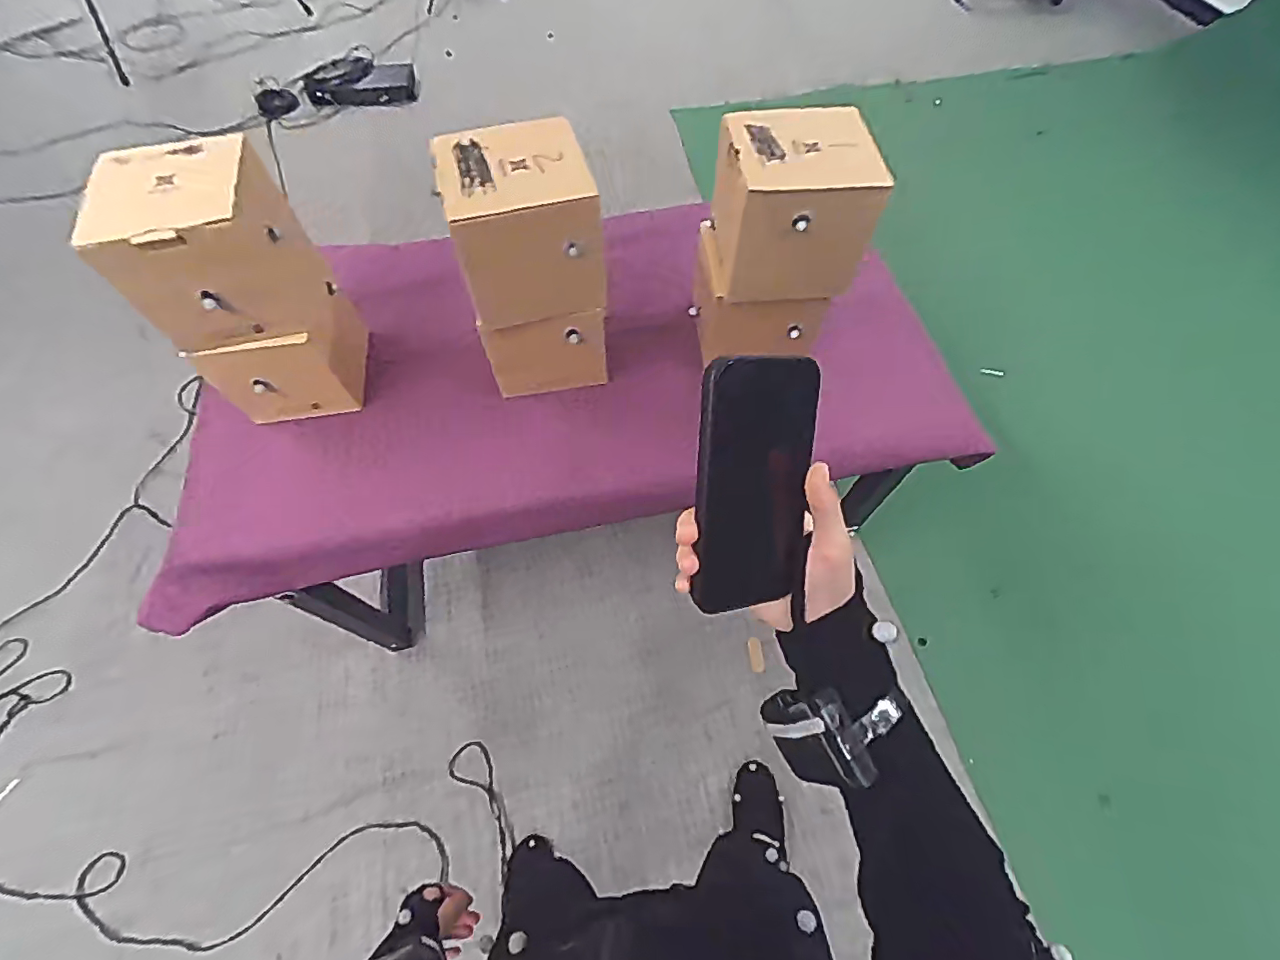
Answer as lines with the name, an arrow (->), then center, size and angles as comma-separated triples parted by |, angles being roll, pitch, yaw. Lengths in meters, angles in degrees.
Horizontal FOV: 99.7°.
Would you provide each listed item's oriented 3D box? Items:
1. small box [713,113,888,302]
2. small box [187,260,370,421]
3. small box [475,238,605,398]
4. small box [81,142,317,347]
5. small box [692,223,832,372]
small box -> 0.197, -0.359, 0.729 | 0.179, 0.176, 0.168 | -4, 61, -3
small box -> -0.538, -0.205, 0.835 | 0.168, 0.176, 0.179 | -9, 62, -4
small box -> -0.151, -0.251, 0.856 | 0.179, 0.176, 0.168 | -9, 62, -5
small box -> -0.541, -0.290, 0.694 | 0.168, 0.176, 0.179 | -13, 63, -8
small box -> 0.186, -0.293, 0.879 | 0.179, 0.176, 0.168 | -4, 61, -2
